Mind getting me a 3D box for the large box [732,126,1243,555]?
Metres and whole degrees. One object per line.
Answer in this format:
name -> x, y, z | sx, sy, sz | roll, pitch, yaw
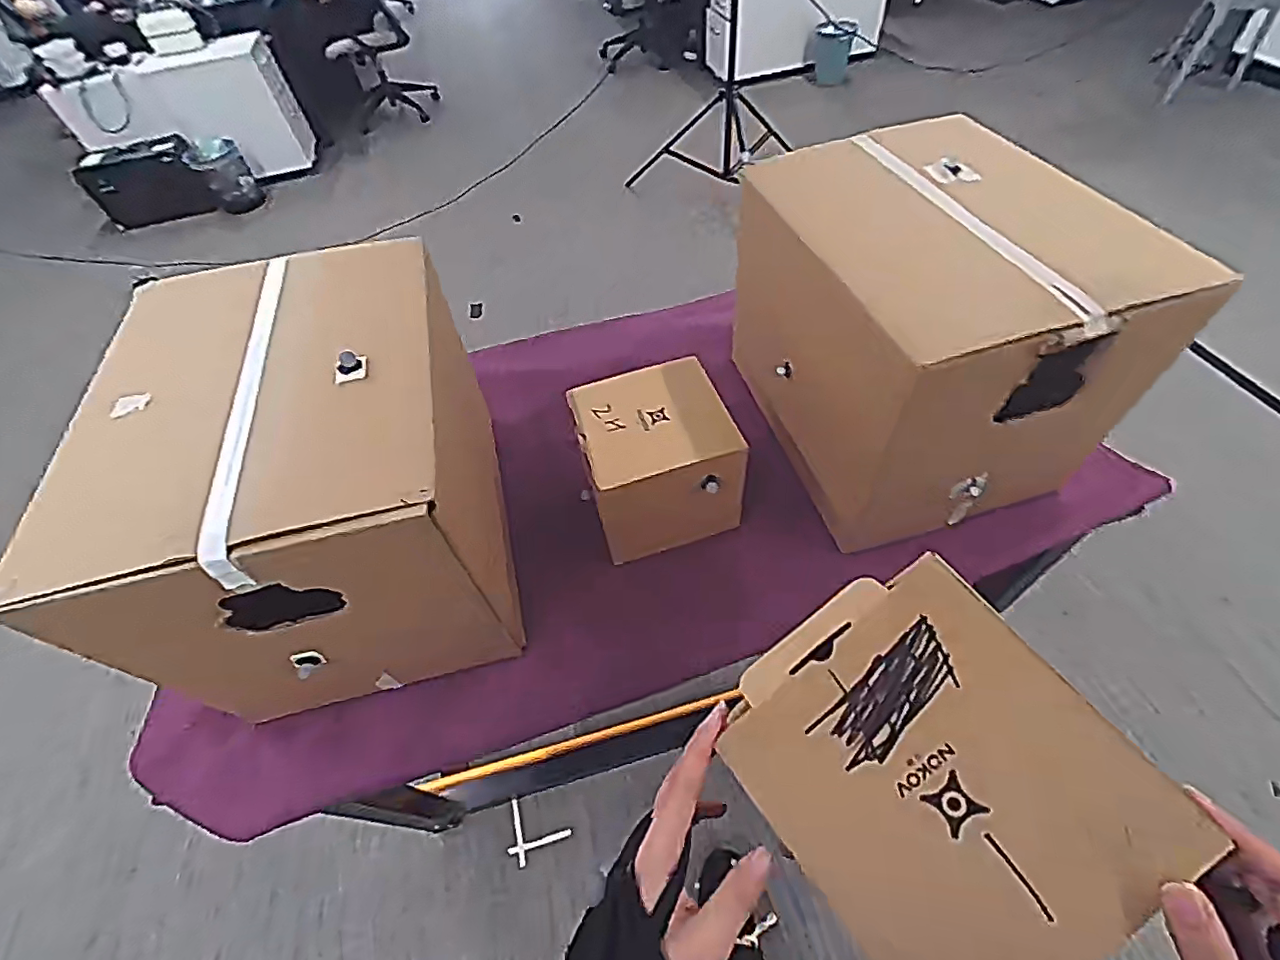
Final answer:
large box -> 0.335, -0.180, 0.683 | 0.320, 0.320, 0.408 | -15, 52, -6
